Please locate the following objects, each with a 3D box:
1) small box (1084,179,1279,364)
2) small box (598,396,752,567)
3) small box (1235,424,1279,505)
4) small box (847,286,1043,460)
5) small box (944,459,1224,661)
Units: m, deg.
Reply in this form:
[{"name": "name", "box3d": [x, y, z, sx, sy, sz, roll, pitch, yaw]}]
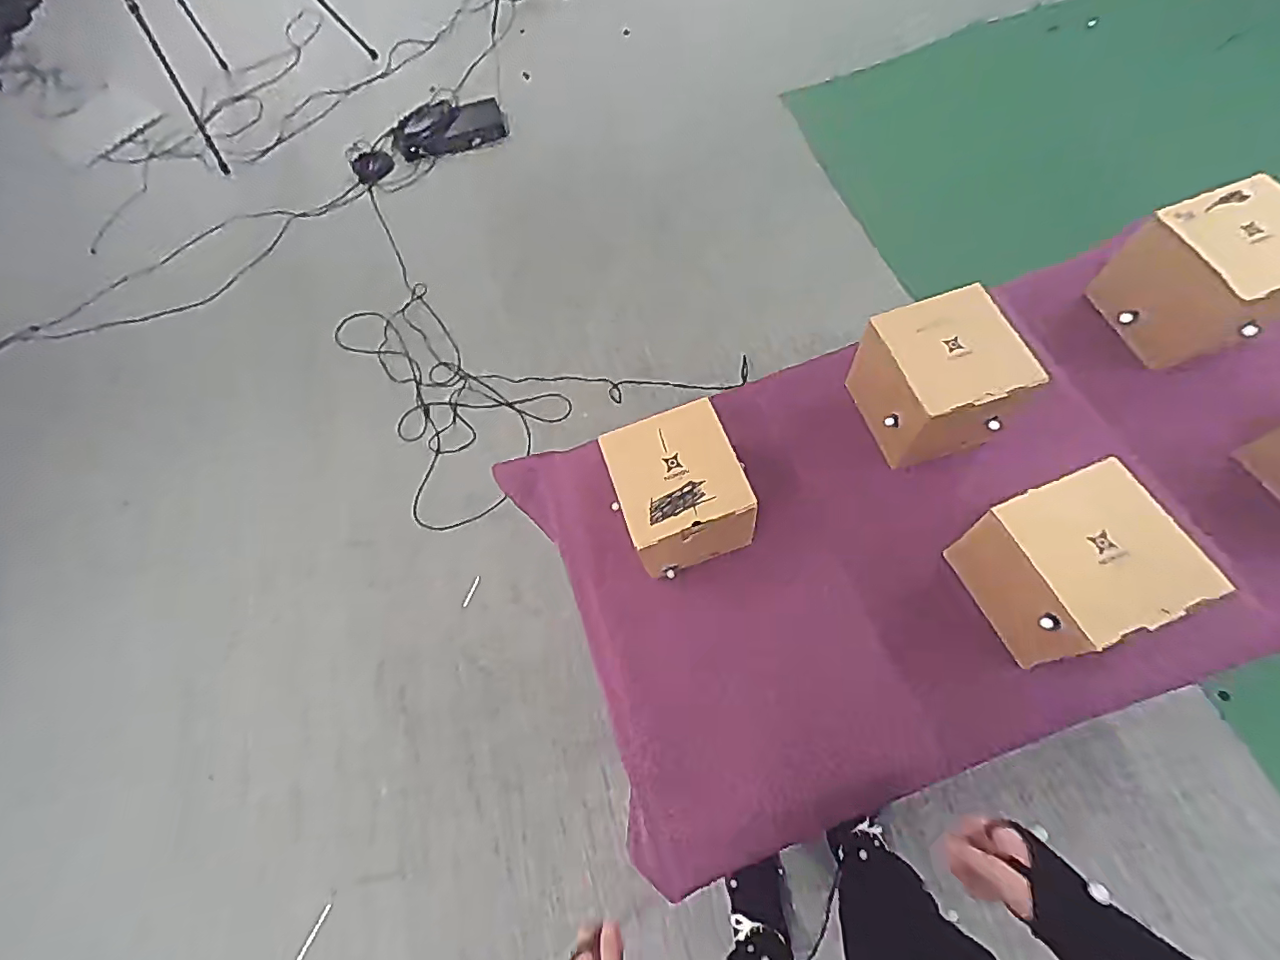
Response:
[{"name": "small box", "box3d": [0.833, -0.295, 0.804, 0.168, 0.176, 0.179, -19, 67, 0]}, {"name": "small box", "box3d": [0.053, 0.014, 0.787, 0.168, 0.176, 0.179, -19, 65, -1]}, {"name": "small box", "box3d": [0.934, -0.028, 0.670, 0.168, 0.176, 0.179, -21, 64, 1]}, {"name": "small box", "box3d": [0.433, -0.146, 0.803, 0.168, 0.176, 0.179, -17, 65, 0]}, {"name": "small box", "box3d": [0.524, 0.107, 0.677, 0.168, 0.176, 0.179, -22, 64, -2]}]
